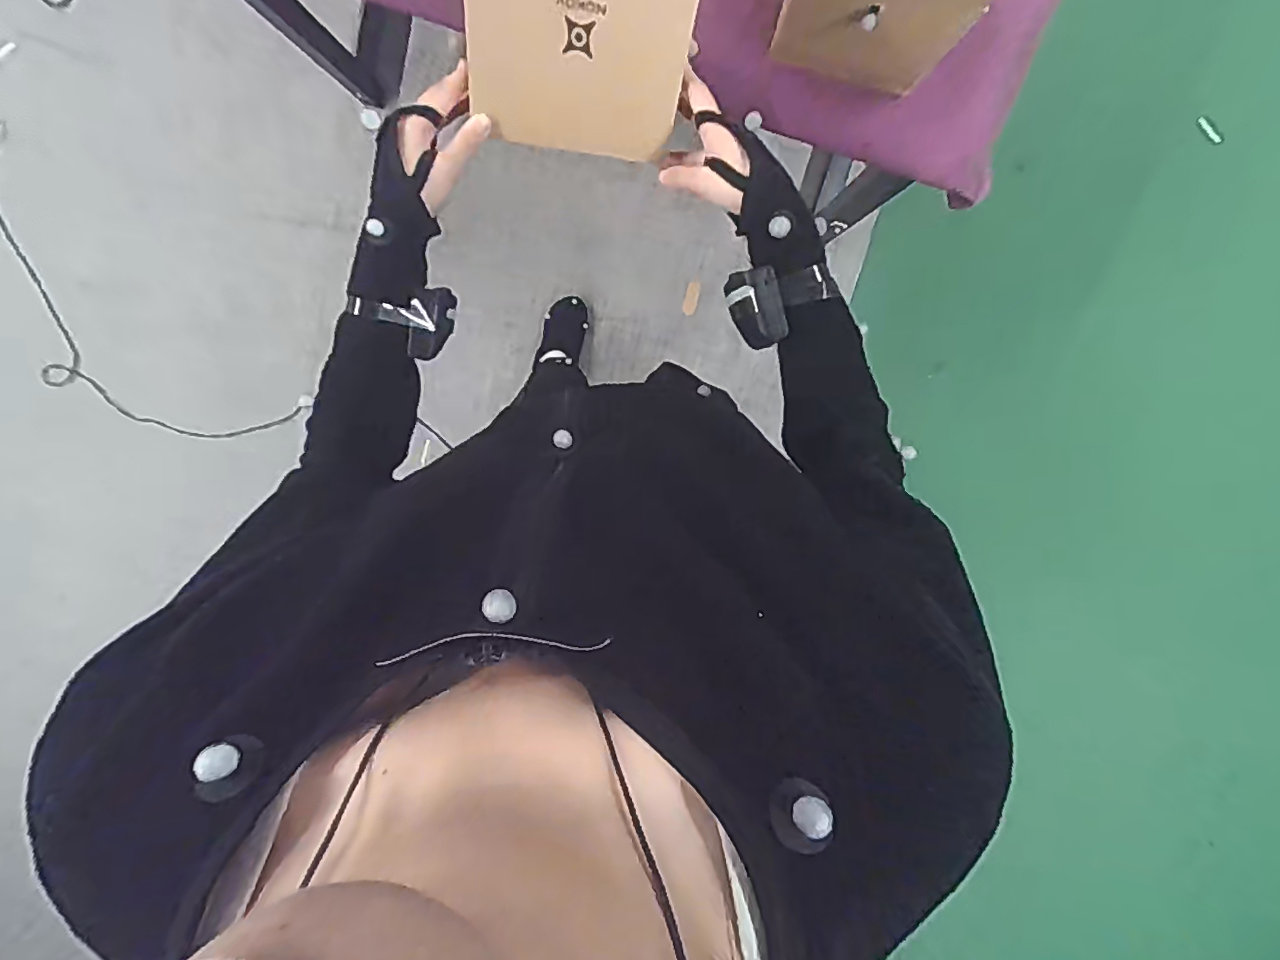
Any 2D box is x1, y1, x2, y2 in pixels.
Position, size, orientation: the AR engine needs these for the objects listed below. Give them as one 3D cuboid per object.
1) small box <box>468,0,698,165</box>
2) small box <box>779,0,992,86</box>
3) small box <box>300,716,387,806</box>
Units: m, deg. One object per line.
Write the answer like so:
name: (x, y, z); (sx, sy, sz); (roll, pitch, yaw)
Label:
small box: (-0.049, -0.399, 0.446); (0.168, 0.176, 0.179); (2, 141, -12)
small box: (0.262, -0.546, 0.556); (0.179, 0.176, 0.168); (15, 103, 1)
small box: (-0.879, 0.831, 1.615); (0.179, 0.176, 0.168); (7, 102, 1)
